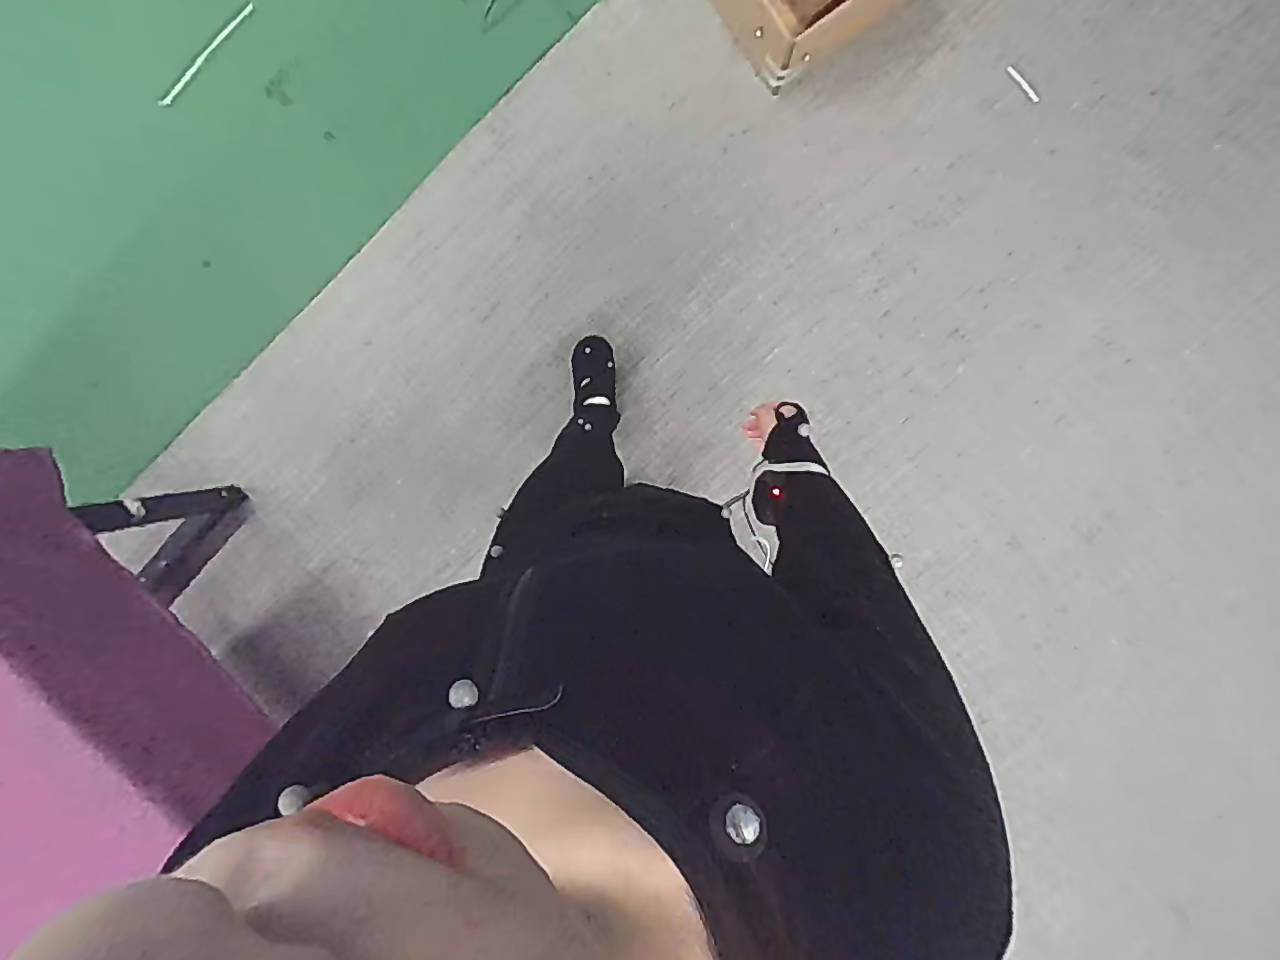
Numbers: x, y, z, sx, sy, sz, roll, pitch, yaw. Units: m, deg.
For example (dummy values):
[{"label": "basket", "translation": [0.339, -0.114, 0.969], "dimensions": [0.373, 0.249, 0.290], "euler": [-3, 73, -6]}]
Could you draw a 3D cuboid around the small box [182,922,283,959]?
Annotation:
[{"label": "small box", "translation": [-0.647, 0.805, 0.790], "dimensions": [0.168, 0.176, 0.179], "euler": [-43, 91, 8]}]
